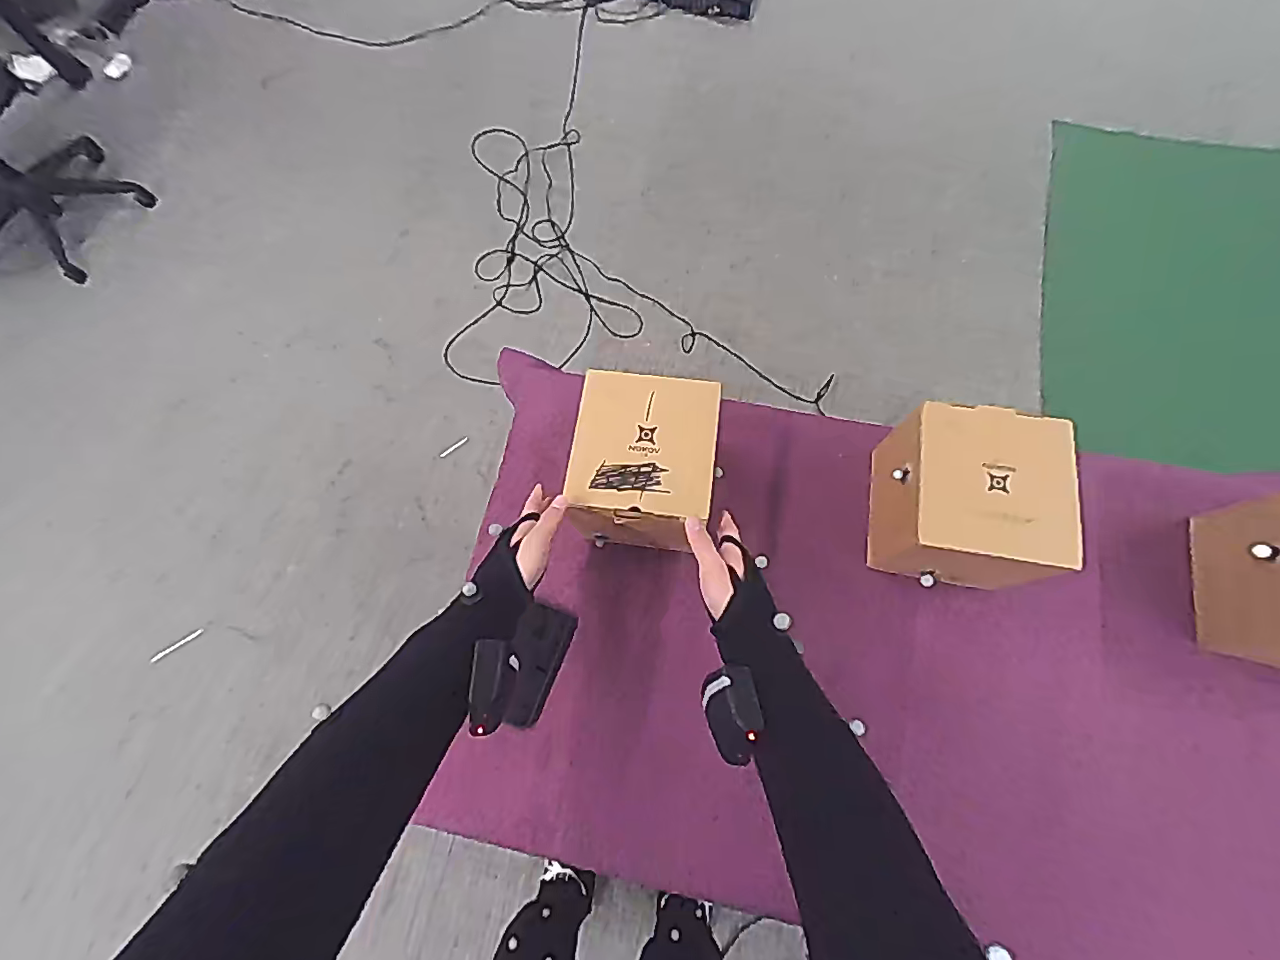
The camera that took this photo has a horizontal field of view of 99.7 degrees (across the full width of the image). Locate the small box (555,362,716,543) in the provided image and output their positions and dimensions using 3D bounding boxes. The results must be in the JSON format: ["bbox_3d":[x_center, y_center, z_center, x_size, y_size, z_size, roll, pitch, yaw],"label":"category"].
[{"bbox_3d":[0.001,-0.025,0.690,0.168,0.176,0.179,7,70,4],"label":"small box"}]

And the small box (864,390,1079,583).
[{"bbox_3d":[0.386,0.015,0.660,0.168,0.176,0.179,9,72,7],"label":"small box"}]

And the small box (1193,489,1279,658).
[{"bbox_3d":[0.784,0.107,0.608,0.168,0.176,0.179,12,71,8],"label":"small box"}]
